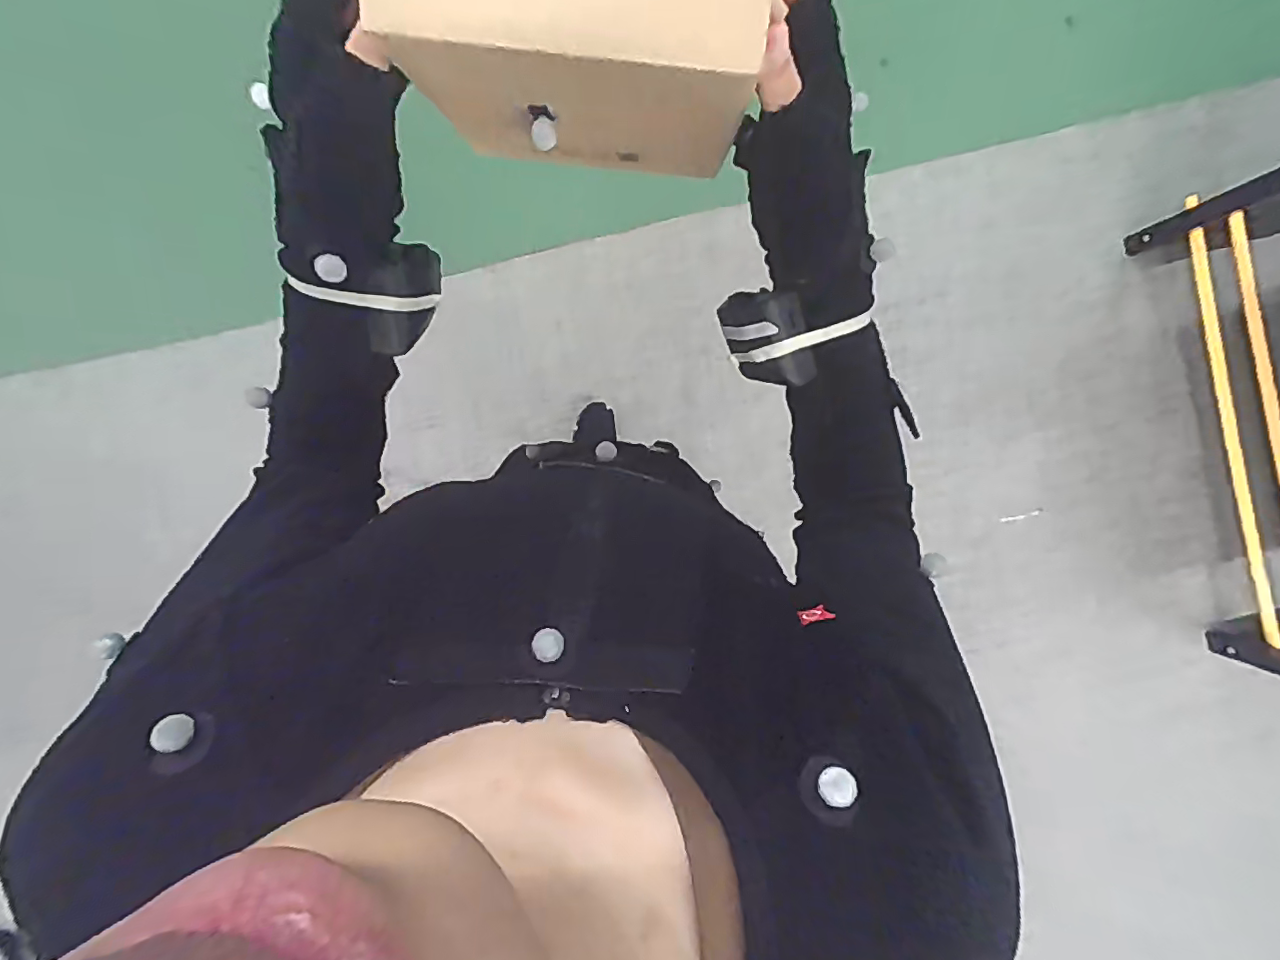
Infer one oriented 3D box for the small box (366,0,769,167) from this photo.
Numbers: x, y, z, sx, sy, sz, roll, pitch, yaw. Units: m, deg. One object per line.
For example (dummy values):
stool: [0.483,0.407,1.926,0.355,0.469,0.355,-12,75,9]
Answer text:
small box: [-0.019,-0.279,0.272,0.168,0.176,0.179,6,106,0]
